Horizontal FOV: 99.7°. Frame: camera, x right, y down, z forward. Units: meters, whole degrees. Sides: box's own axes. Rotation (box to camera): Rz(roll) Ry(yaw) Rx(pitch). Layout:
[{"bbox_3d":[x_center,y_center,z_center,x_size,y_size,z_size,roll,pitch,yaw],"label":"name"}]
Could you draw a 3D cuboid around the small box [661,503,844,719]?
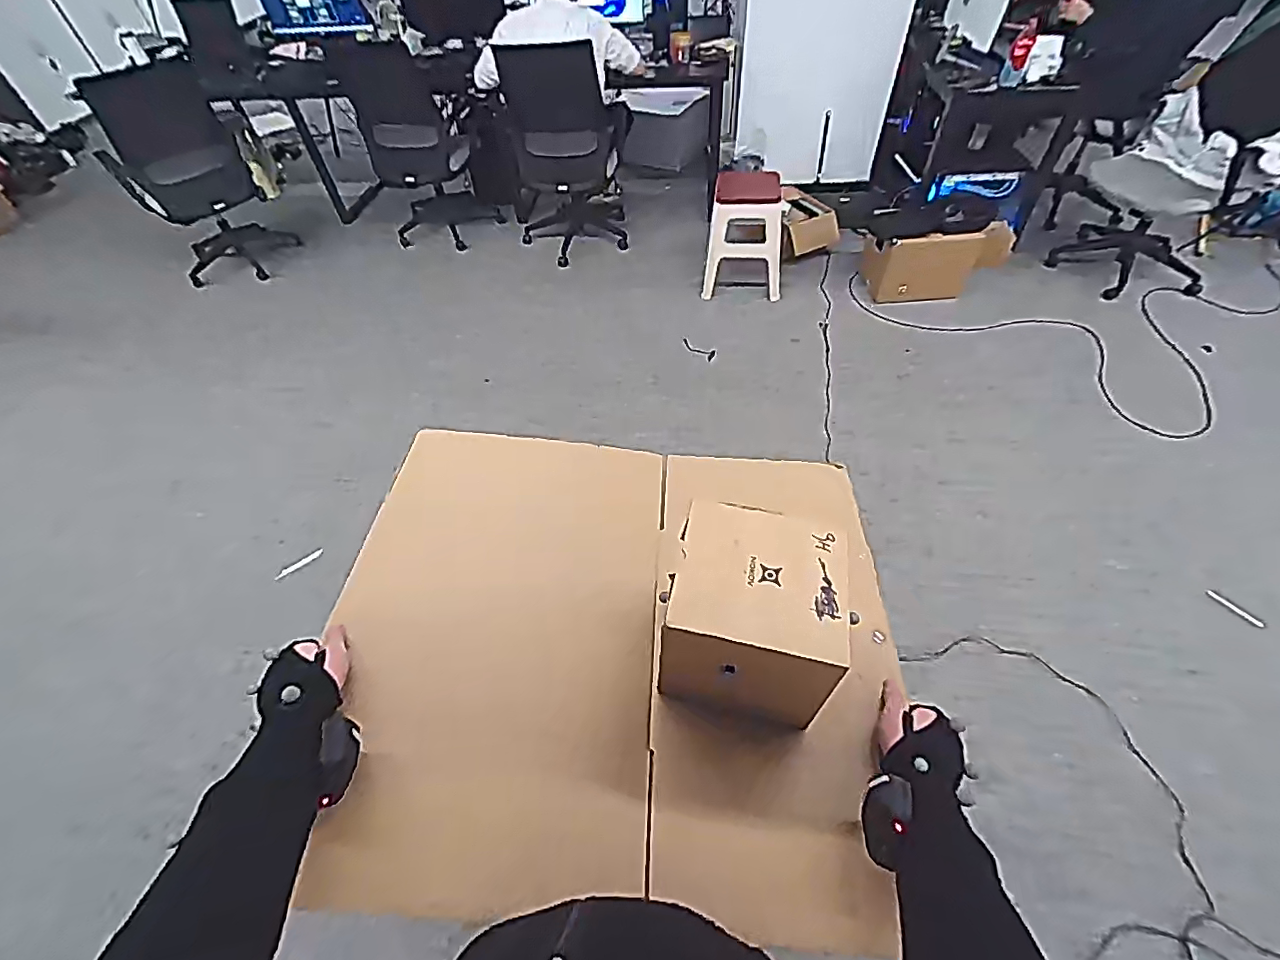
[{"bbox_3d":[0.124,0.153,0.621,0.179,0.176,0.168,10,49,9],"label":"small box"}]
